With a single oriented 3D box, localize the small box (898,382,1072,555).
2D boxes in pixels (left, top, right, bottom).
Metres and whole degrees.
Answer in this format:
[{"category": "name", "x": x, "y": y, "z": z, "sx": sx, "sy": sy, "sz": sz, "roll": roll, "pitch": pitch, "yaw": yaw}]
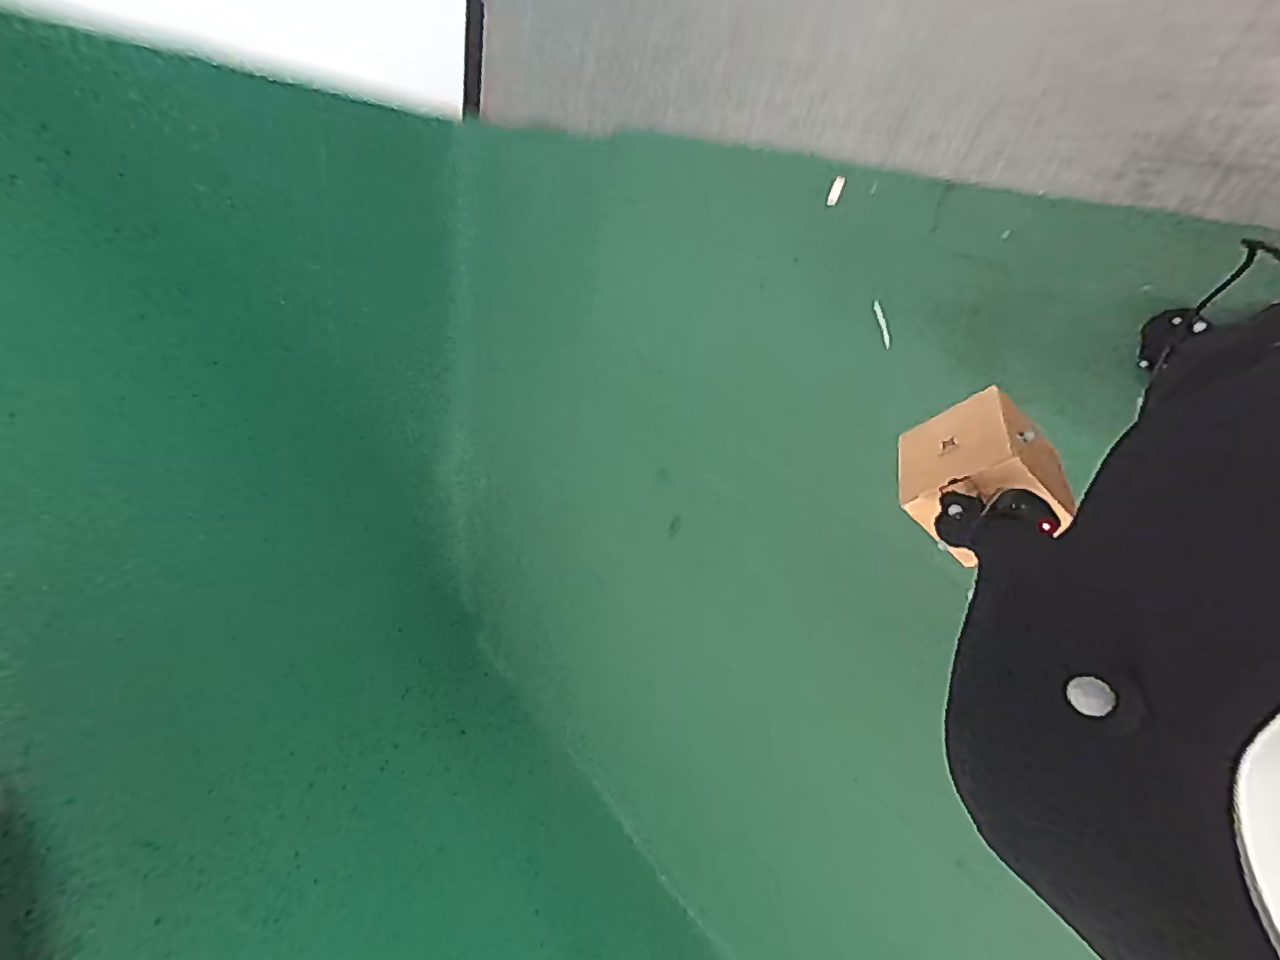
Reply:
[{"category": "small box", "x": 0.534, "y": -0.014, "z": 0.854, "sx": 0.176, "sy": 0.179, "sz": 0.168, "roll": 39, "pitch": 136, "yaw": -16}]
